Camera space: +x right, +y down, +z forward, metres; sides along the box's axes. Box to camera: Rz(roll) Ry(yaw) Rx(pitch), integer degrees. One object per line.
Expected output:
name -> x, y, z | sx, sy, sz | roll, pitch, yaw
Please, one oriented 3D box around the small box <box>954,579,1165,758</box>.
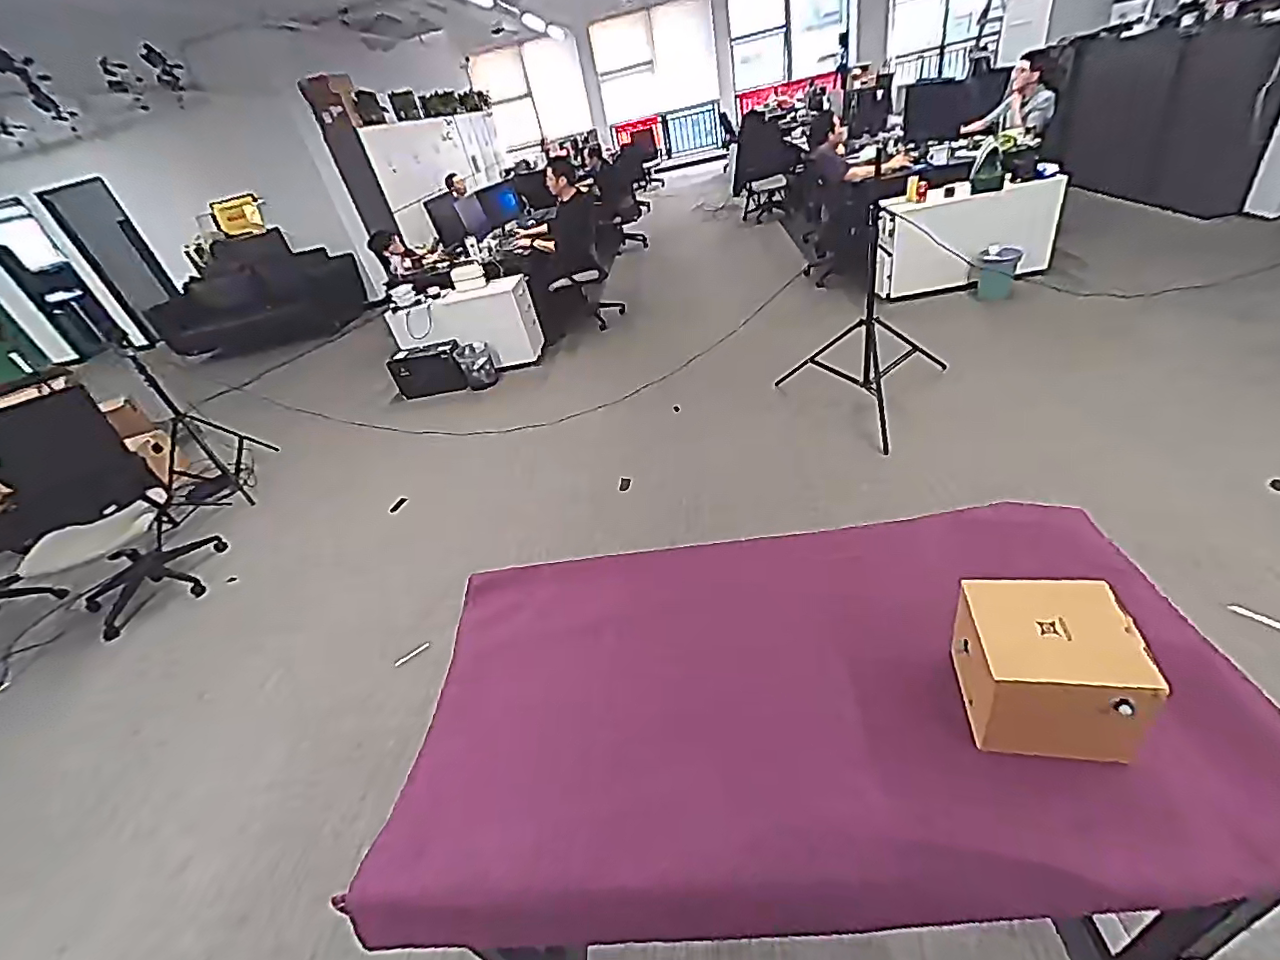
small box -> 0.543, 0.253, 0.735 | 0.179, 0.176, 0.168 | -3, 36, 17
